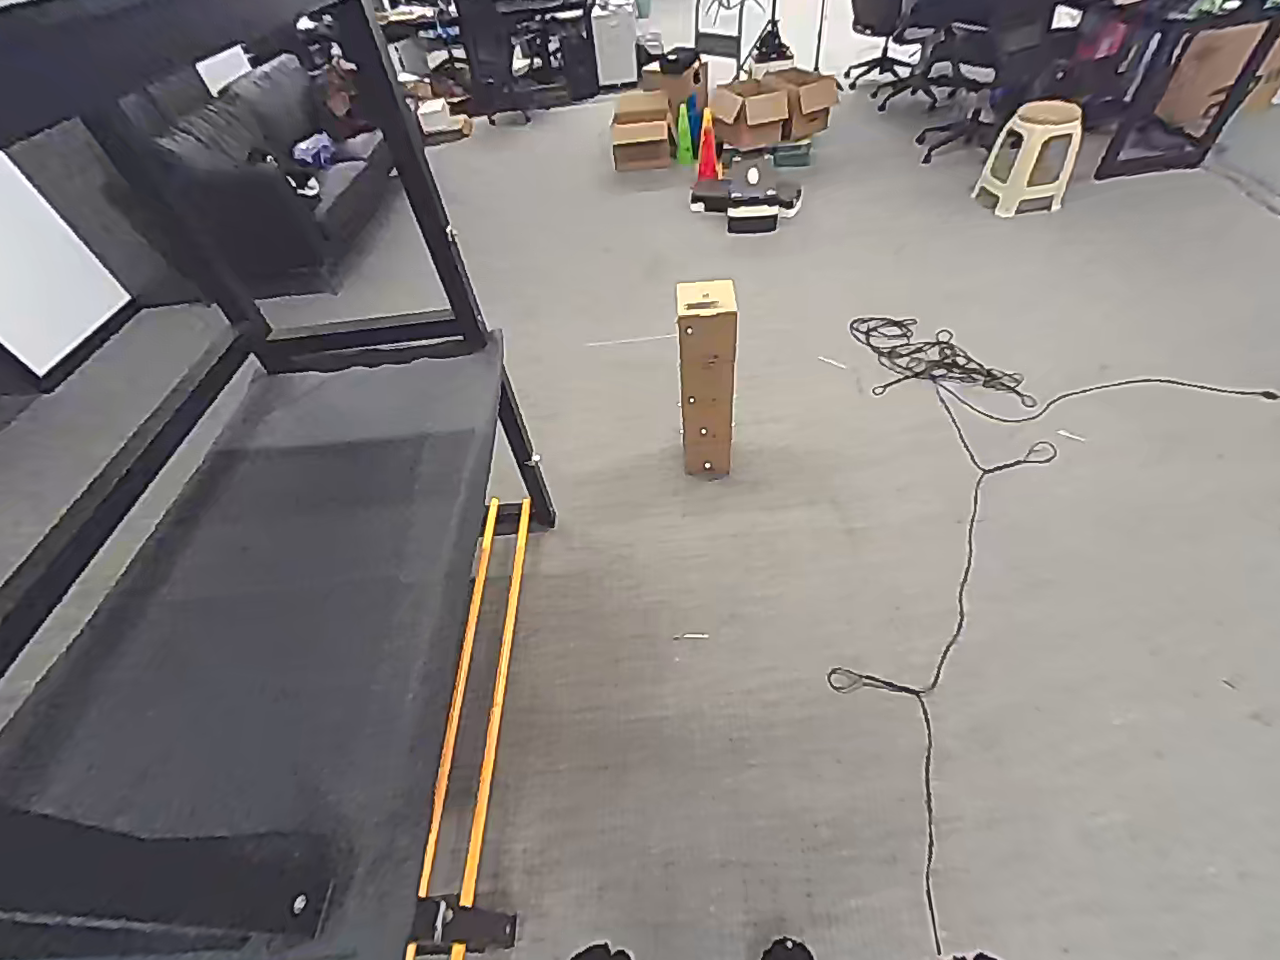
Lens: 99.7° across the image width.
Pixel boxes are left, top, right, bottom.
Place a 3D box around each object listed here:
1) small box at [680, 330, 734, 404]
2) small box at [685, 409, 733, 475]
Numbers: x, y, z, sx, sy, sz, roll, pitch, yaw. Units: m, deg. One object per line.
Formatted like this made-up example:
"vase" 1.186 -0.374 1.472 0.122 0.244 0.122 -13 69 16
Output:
"small box" 0.215 -0.355 1.731 0.168 0.176 0.179 -2 48 6
"small box" 0.252 -0.138 1.973 0.168 0.176 0.179 -1 49 8
